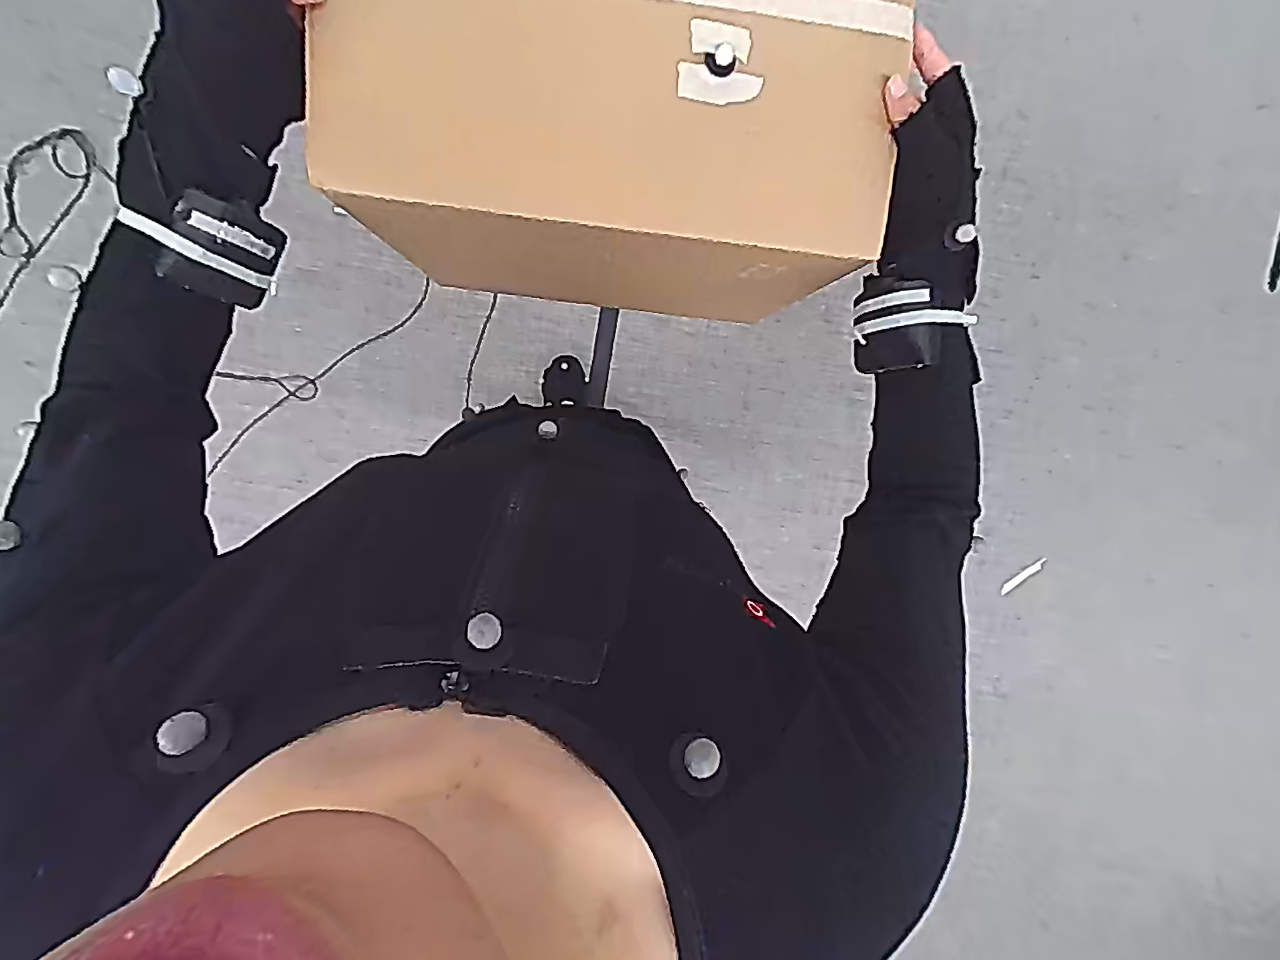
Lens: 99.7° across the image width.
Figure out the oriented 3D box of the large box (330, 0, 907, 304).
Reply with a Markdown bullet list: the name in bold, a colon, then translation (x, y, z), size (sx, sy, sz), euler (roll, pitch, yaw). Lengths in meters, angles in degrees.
- **large box**: translation (-0.020, -0.369, 0.518), size (0.408, 0.320, 0.320), euler (4, 98, -6)
